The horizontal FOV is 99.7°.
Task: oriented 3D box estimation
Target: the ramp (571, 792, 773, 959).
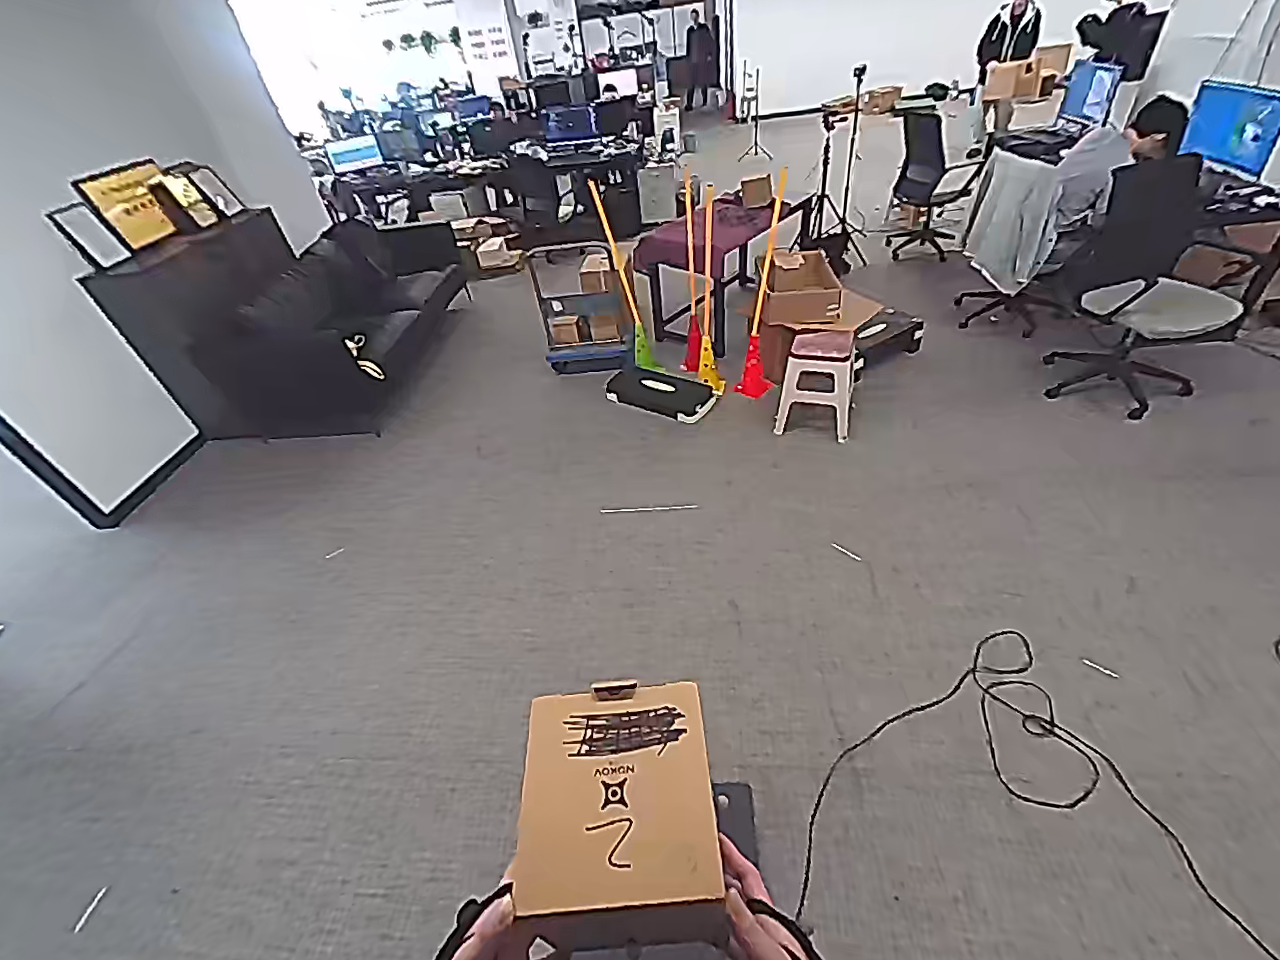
[{"bbox_3d":[0.066,1.210,1.231,0.509,0.206,0.991,-5,39,6],"label":"ramp"}]
